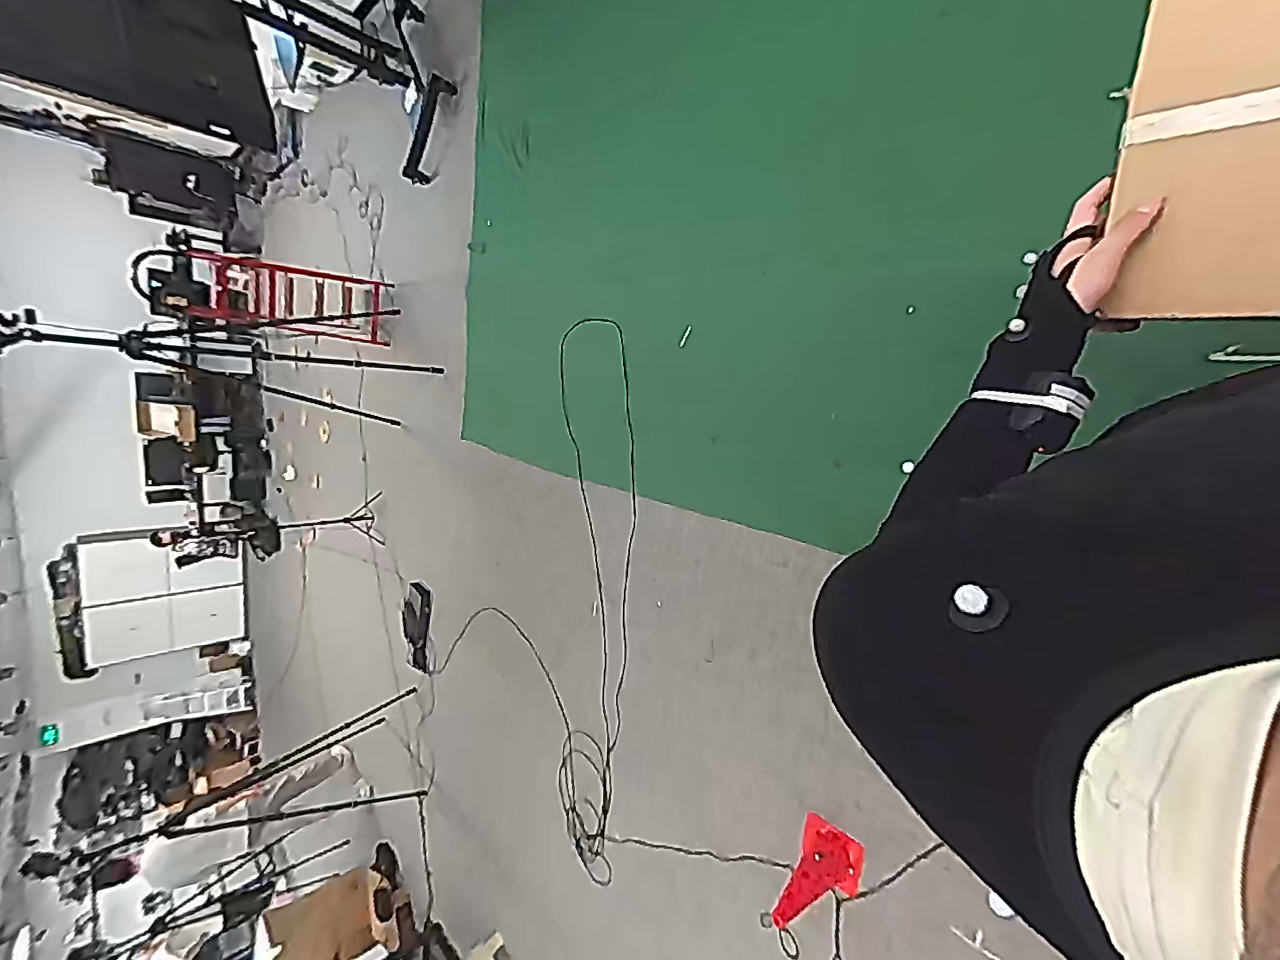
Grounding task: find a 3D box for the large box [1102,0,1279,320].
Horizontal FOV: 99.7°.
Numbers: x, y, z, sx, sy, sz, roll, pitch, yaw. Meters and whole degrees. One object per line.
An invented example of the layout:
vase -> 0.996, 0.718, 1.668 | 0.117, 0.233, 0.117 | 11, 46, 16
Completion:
large box -> 0.678, -0.301, 0.444 | 0.408, 0.320, 0.320 | 14, 112, 43
